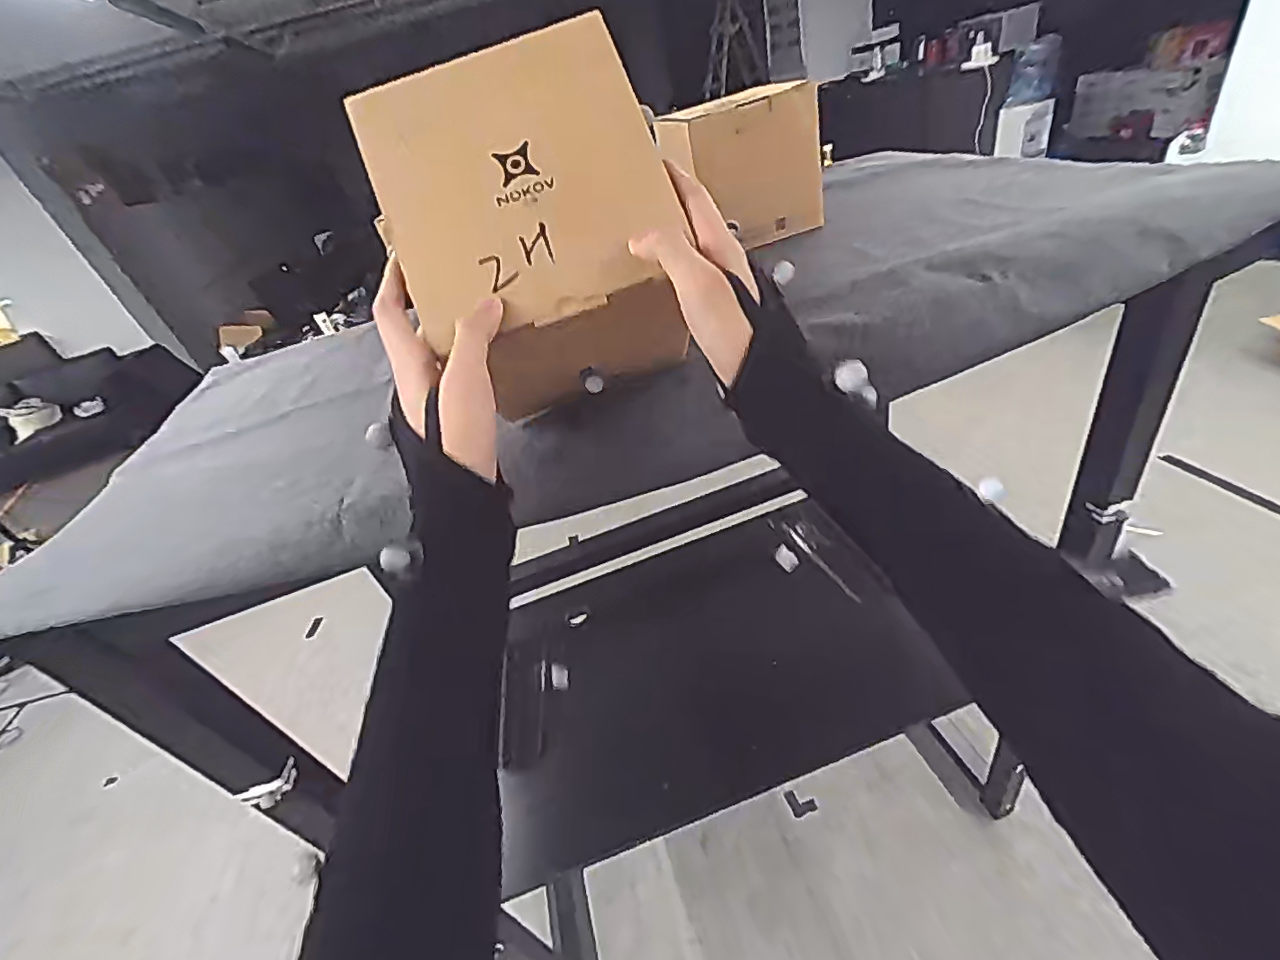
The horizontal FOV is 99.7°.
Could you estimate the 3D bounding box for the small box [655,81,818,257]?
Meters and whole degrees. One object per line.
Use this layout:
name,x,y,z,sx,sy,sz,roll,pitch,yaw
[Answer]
small box,0.134,-0.426,0.751,0.168,0.176,0.179,-18,35,-2

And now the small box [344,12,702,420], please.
small box,-0.068,-0.162,0.387,0.168,0.179,0.176,-20,-5,-1
